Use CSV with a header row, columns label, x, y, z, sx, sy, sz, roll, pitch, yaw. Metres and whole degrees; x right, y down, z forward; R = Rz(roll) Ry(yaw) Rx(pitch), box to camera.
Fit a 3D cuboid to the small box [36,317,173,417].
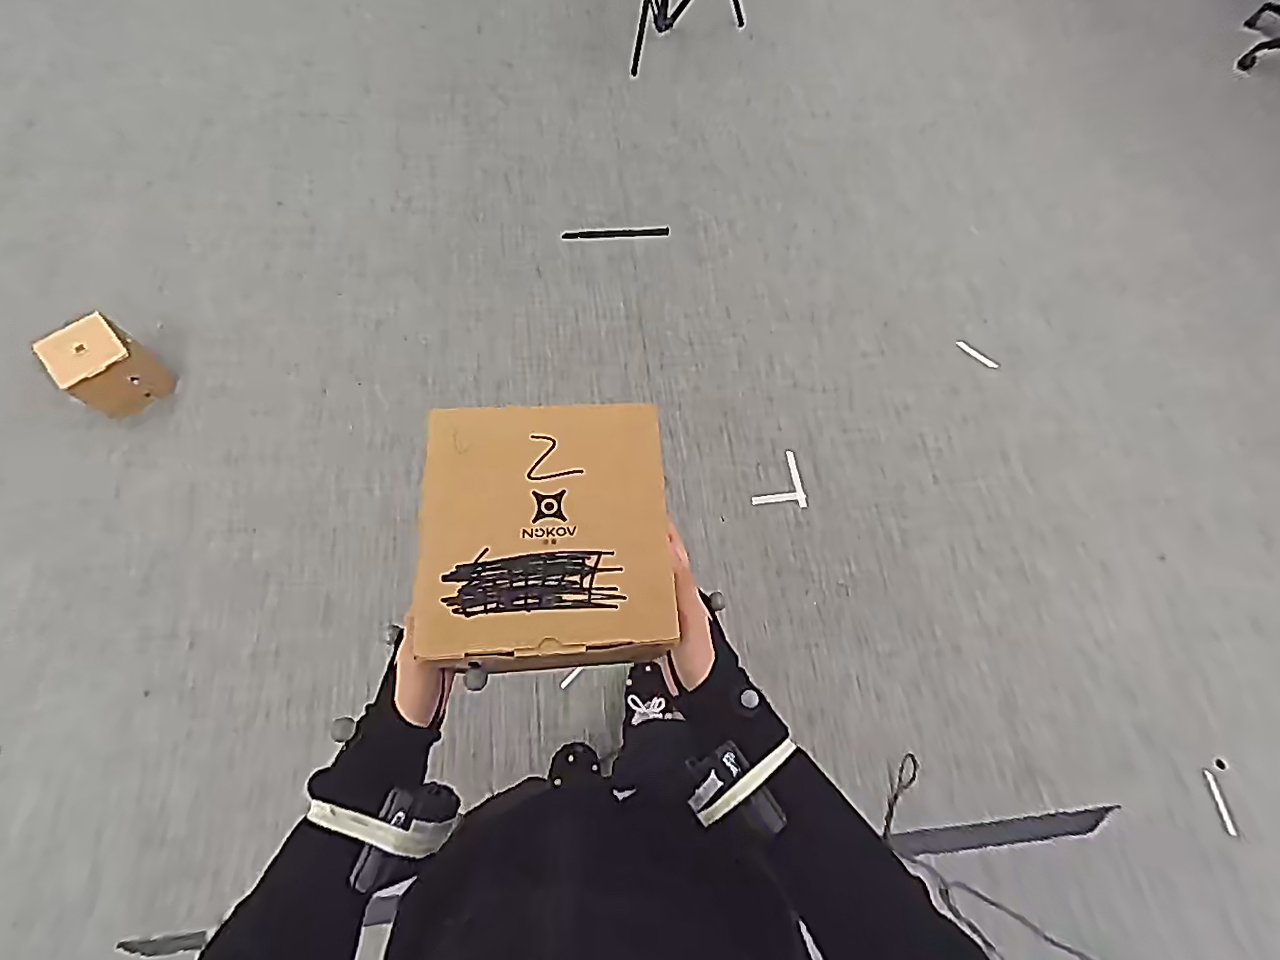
label,x,y,z,sx,sy,sz,roll,pitch,yaw
small box,-1.422,-0.292,1.450,0.168,0.176,0.179,-41,76,-18
